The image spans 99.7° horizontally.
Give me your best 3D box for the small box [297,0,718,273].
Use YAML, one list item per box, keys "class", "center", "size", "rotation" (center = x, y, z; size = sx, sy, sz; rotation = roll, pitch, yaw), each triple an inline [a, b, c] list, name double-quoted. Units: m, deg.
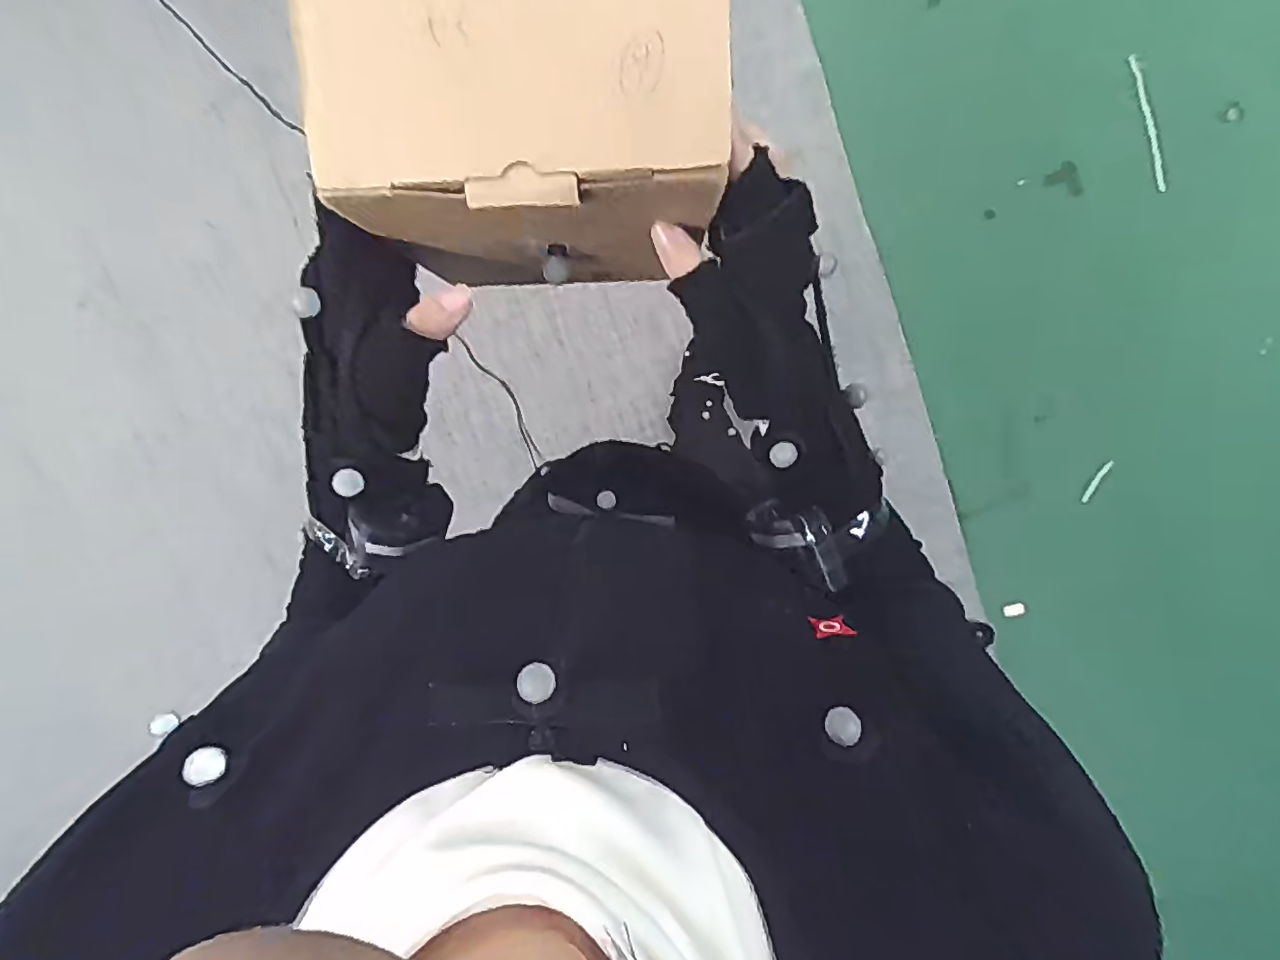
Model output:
- class: "small box"
  center: [-0.050, -0.215, 0.286]
  size: [0.168, 0.176, 0.179]
  rotation: [-3, 99, 1]
